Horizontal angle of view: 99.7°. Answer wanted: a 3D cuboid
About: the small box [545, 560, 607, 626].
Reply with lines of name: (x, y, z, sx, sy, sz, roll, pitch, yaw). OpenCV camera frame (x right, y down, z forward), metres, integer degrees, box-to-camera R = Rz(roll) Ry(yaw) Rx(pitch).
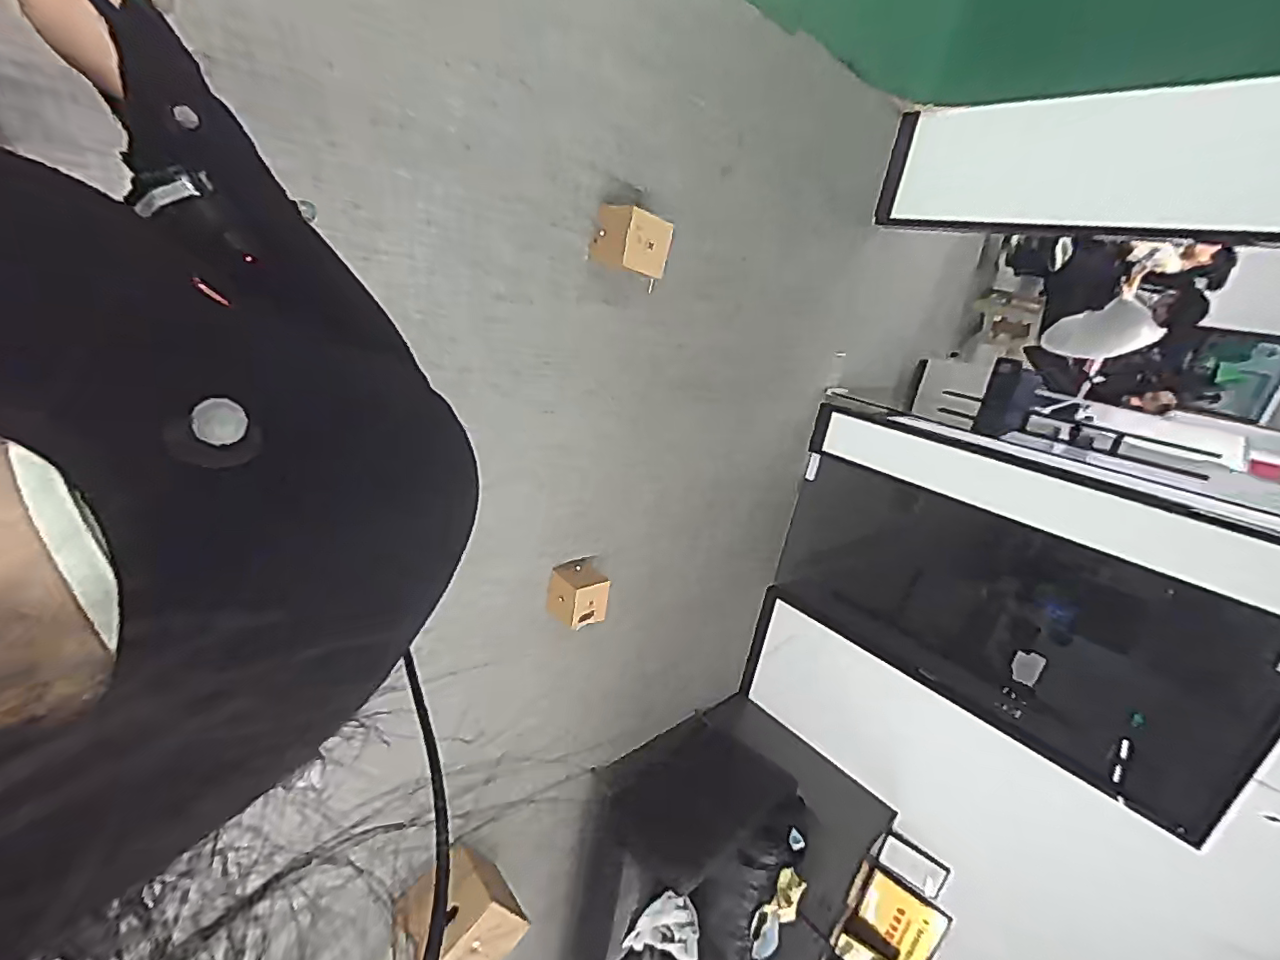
small box: (-0.254, 0.438, 2.119, 0.168, 0.176, 0.179, -7, 115, -43)

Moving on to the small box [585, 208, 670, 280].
small box: (-0.041, -0.737, 1.682, 0.179, 0.176, 0.168, -2, 112, -45)
